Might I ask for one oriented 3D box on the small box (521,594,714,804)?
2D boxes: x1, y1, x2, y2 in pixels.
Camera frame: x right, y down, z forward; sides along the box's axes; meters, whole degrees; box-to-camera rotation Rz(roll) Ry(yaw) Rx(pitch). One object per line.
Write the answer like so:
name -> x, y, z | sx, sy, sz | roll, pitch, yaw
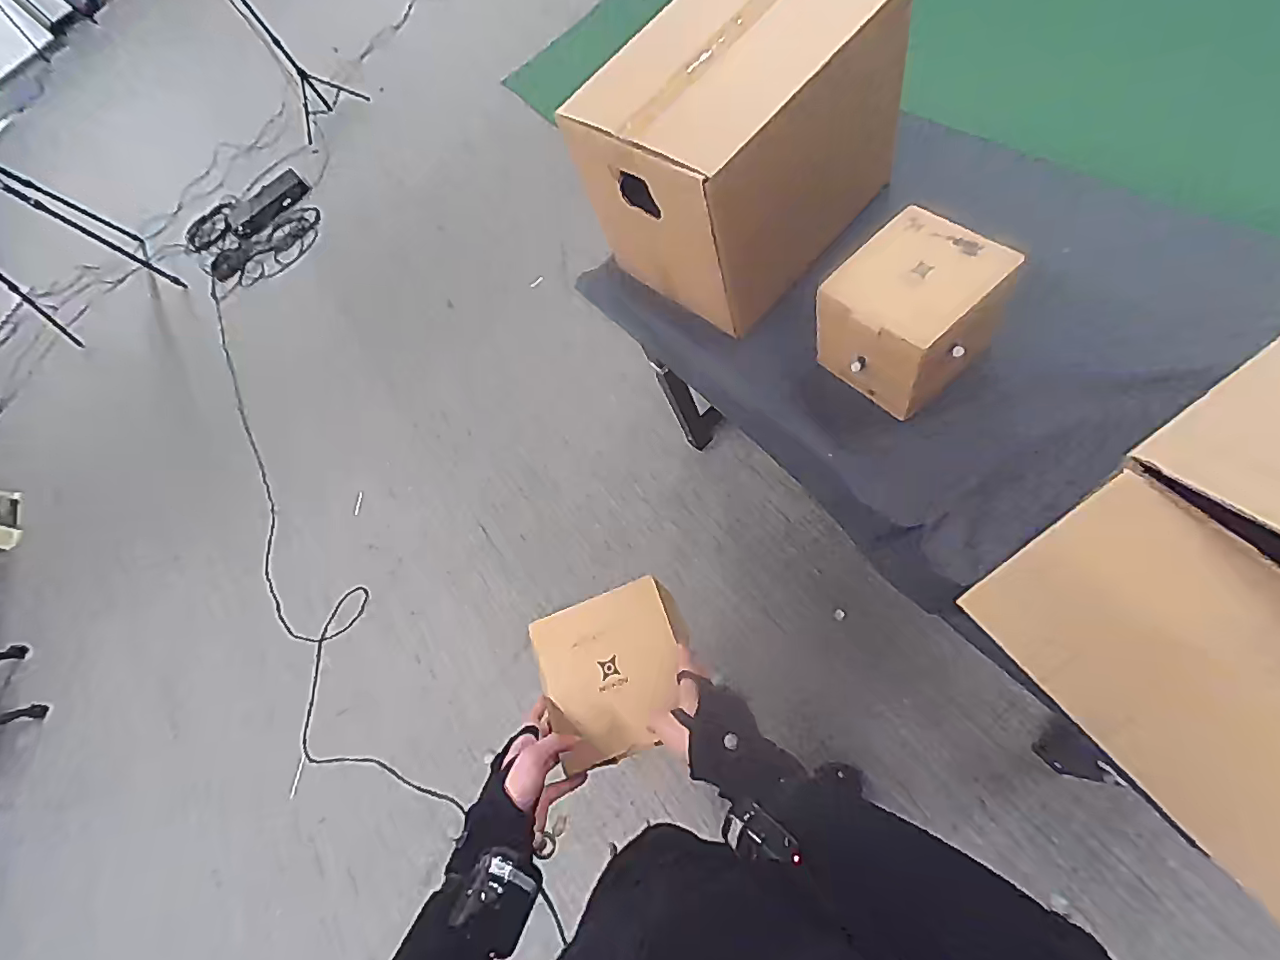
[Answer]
small box -> -0.019, 0.260, 0.662 | 0.168, 0.176, 0.179 | -23, 66, 4
